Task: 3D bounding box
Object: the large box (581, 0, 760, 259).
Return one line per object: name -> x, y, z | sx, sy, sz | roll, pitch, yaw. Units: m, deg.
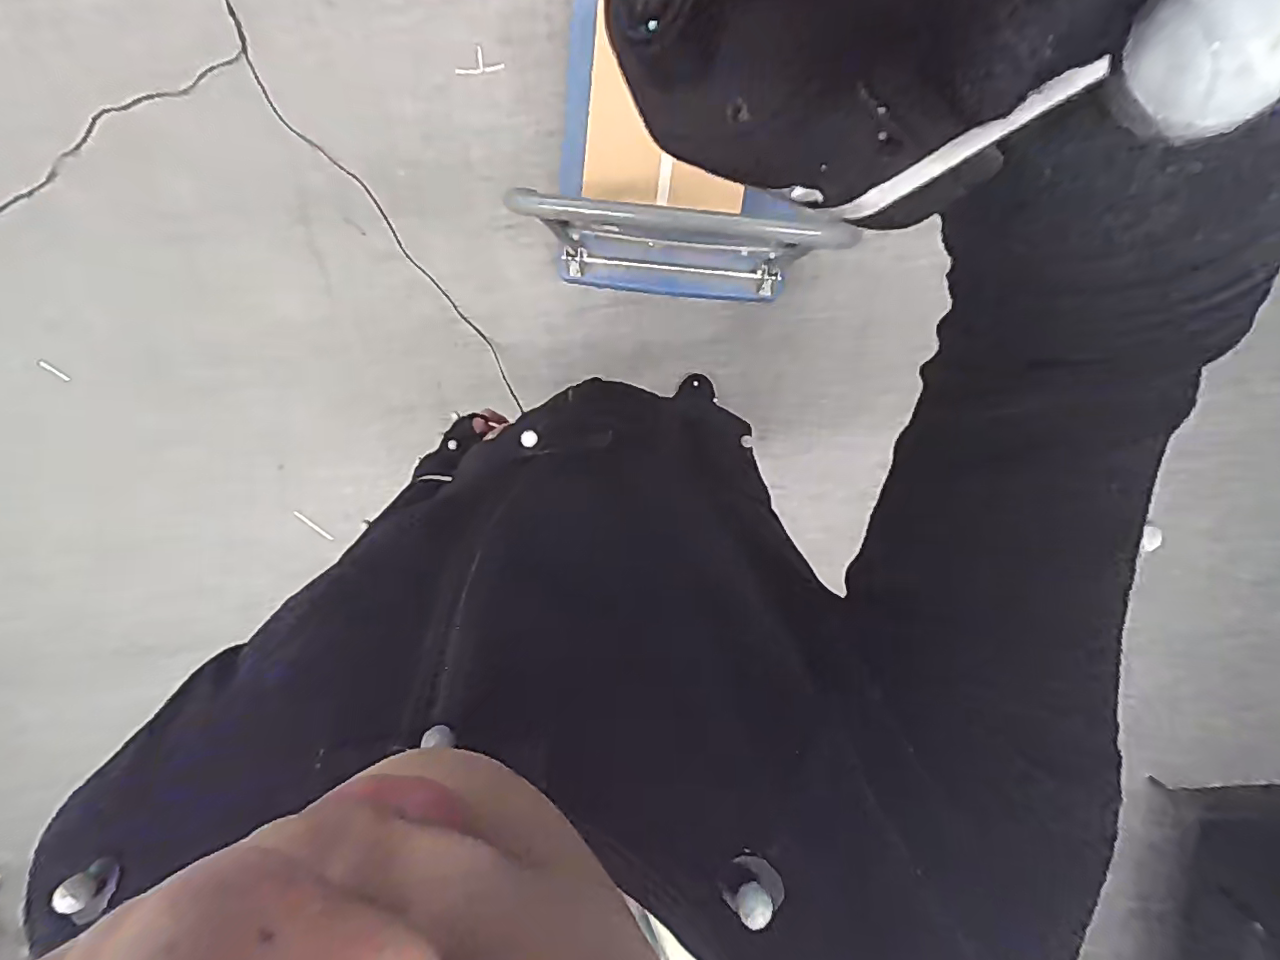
large box -> 0.060, -0.738, 1.185 | 0.320, 0.320, 0.408 | 7, 99, 0
